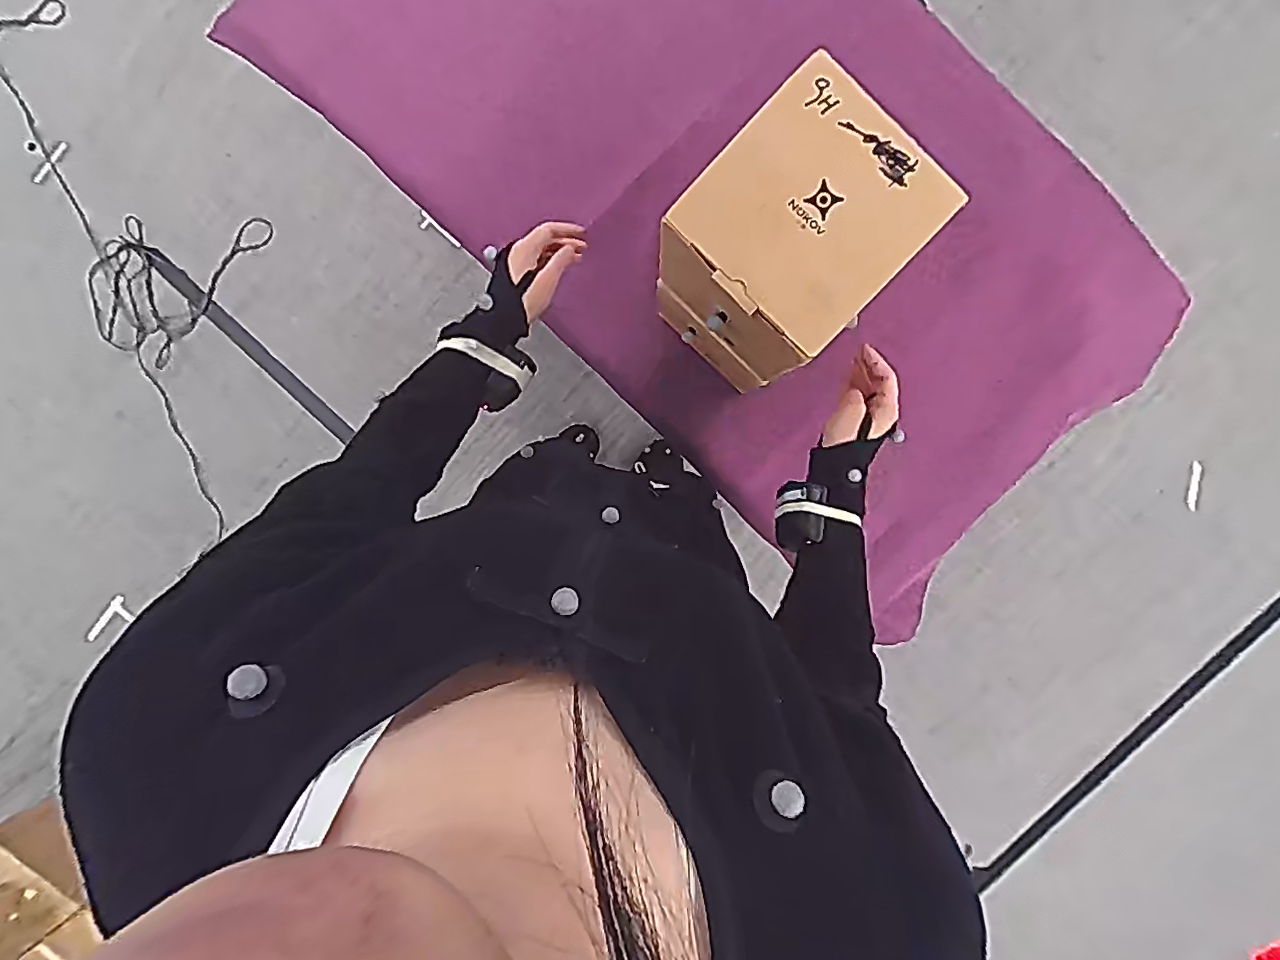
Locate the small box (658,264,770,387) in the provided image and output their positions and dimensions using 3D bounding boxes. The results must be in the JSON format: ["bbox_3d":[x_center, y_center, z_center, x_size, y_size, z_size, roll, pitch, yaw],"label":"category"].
[{"bbox_3d":[0.140,-0.232,0.664,0.168,0.176,0.179,43,94,-2],"label":"small box"}]

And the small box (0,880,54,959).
[{"bbox_3d":[-1.566,1.110,1.272,0.168,0.176,0.179,40,94,-2],"label":"small box"}]

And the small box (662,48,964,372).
[{"bbox_3d":[0.139,-0.220,0.500,0.168,0.176,0.179,44,95,-2],"label":"small box"}]
